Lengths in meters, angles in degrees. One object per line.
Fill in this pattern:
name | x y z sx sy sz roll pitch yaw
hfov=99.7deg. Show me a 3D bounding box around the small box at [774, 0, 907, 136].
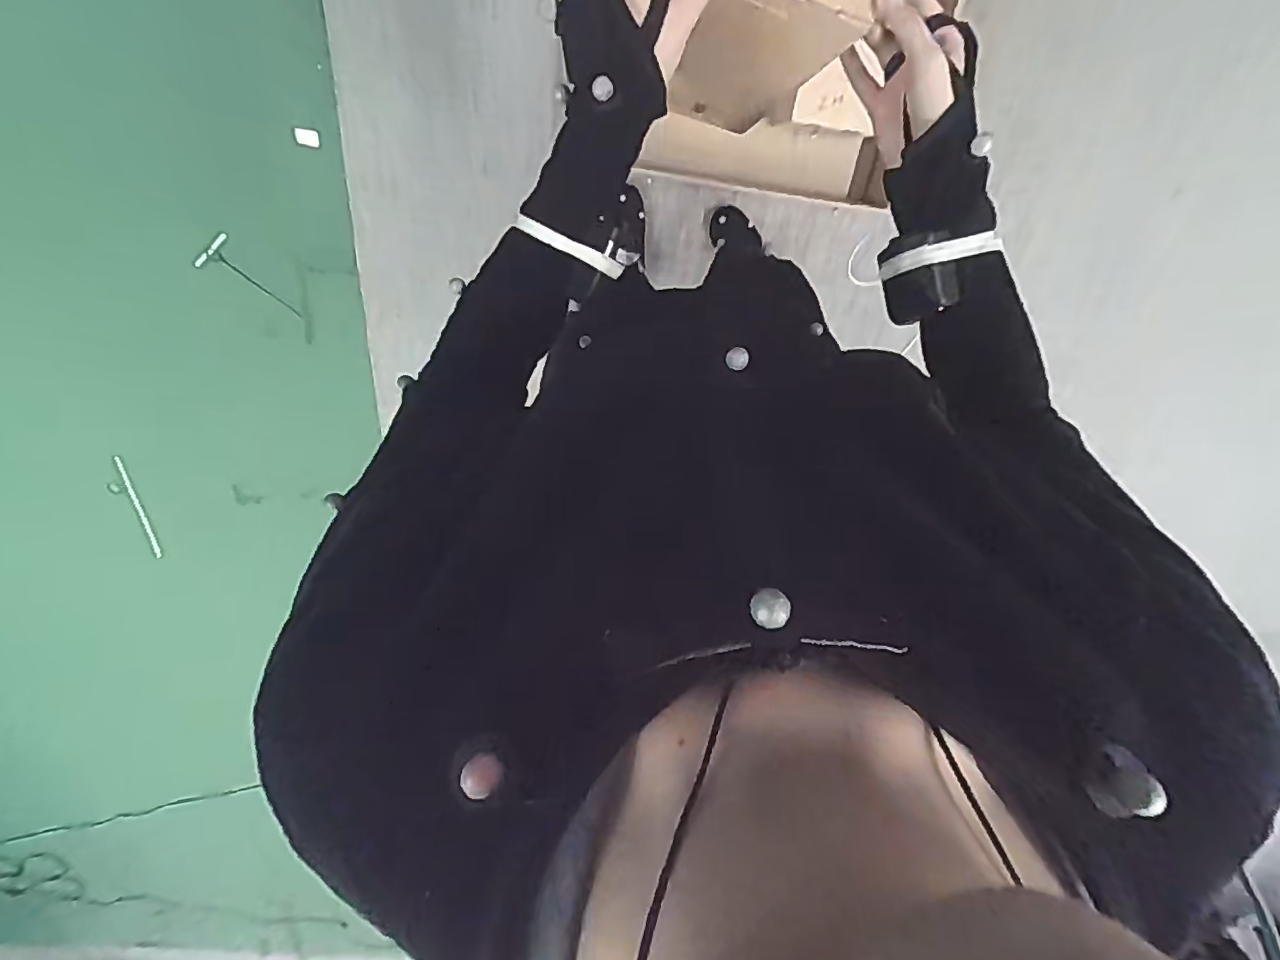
small box | 0.369 -0.777 1.035 0.168 0.176 0.179 7 121 -4
